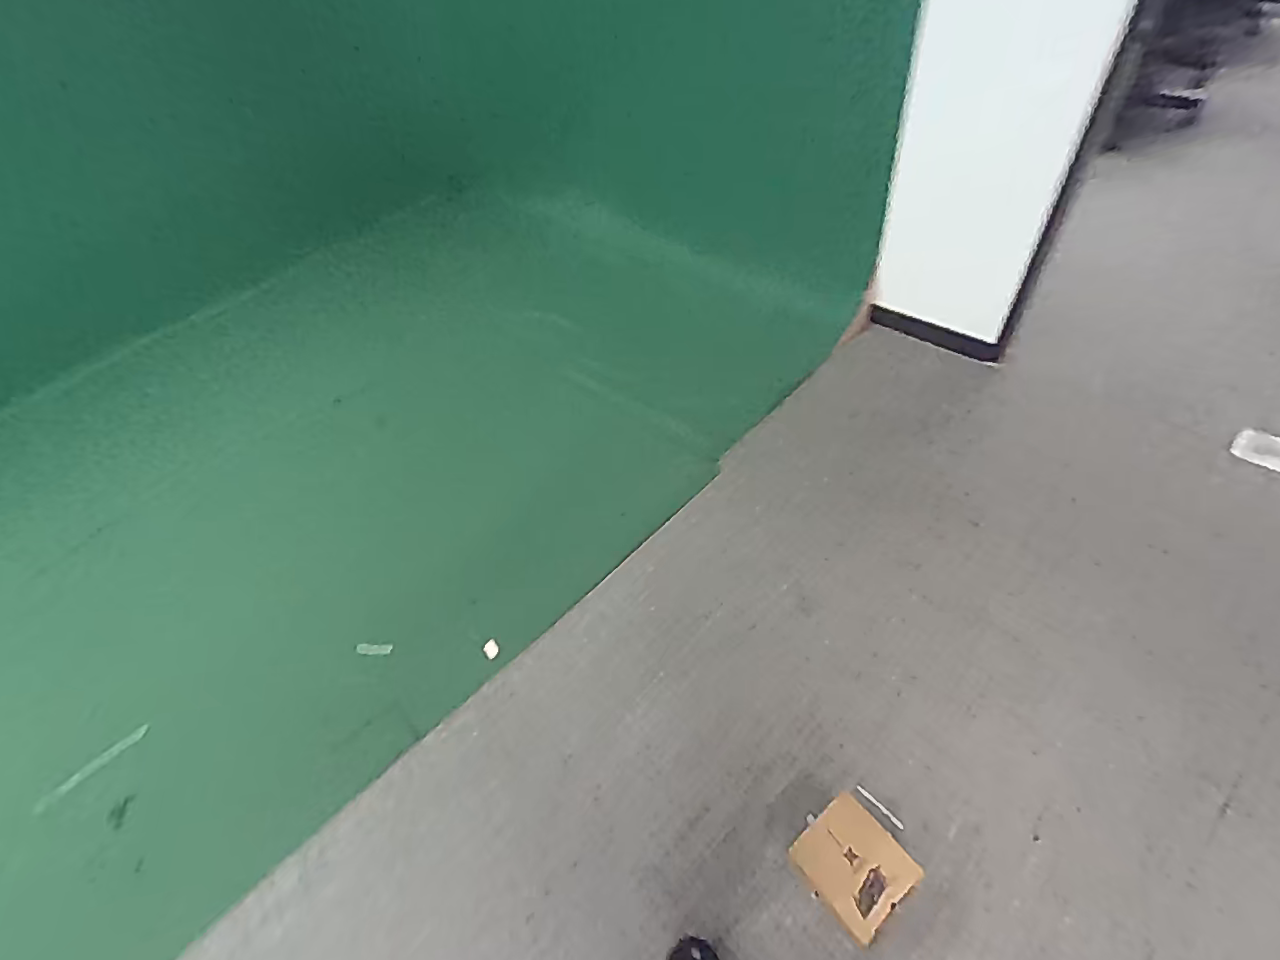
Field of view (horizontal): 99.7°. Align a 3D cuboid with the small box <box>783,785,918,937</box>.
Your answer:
[{"bbox_3d":[0.401,0.741,1.057,0.168,0.176,0.179,-35,52,-16],"label":"small box"}]
